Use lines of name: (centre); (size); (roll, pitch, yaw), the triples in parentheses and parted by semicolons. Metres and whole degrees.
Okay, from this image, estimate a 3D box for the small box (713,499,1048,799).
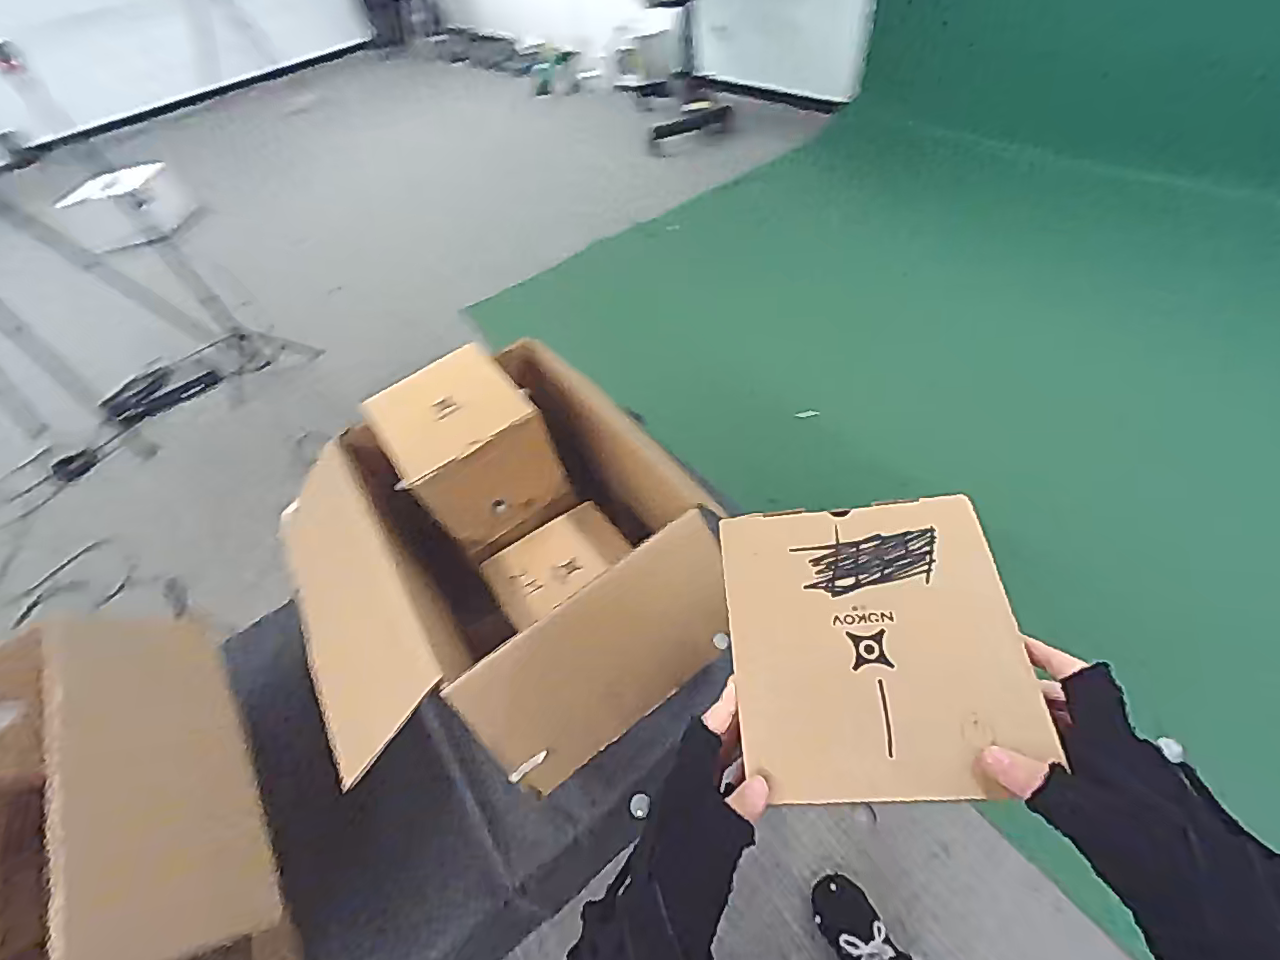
small box: (0.145, 0.134, 0.403); (0.168, 0.176, 0.179); (-7, 60, 8)
